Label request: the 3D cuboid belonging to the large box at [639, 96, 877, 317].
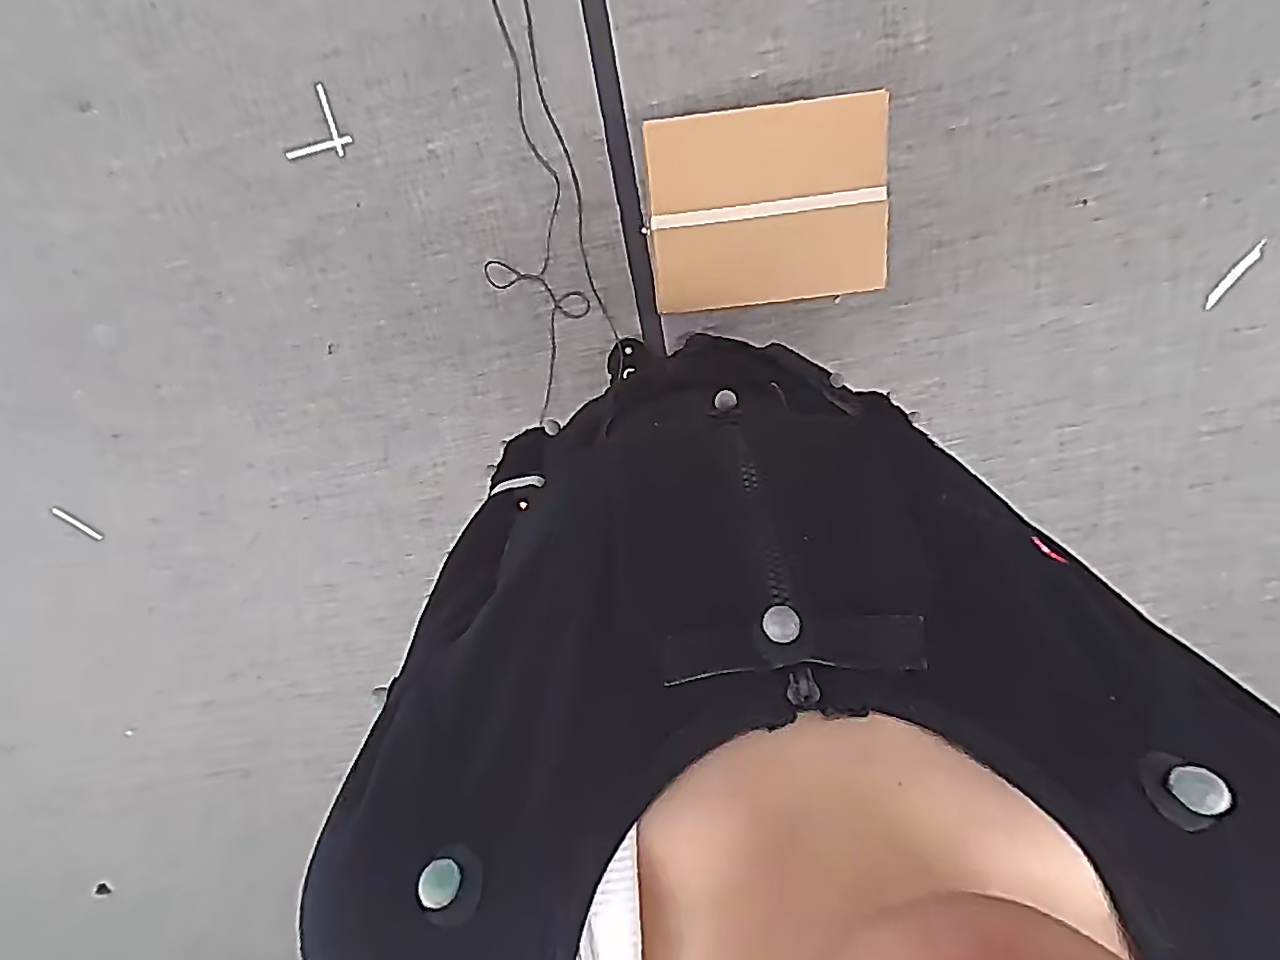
[{"bbox_3d":[0.215,-0.511,1.084,0.408,0.320,0.320,-6,106,2],"label":"large box"}]
